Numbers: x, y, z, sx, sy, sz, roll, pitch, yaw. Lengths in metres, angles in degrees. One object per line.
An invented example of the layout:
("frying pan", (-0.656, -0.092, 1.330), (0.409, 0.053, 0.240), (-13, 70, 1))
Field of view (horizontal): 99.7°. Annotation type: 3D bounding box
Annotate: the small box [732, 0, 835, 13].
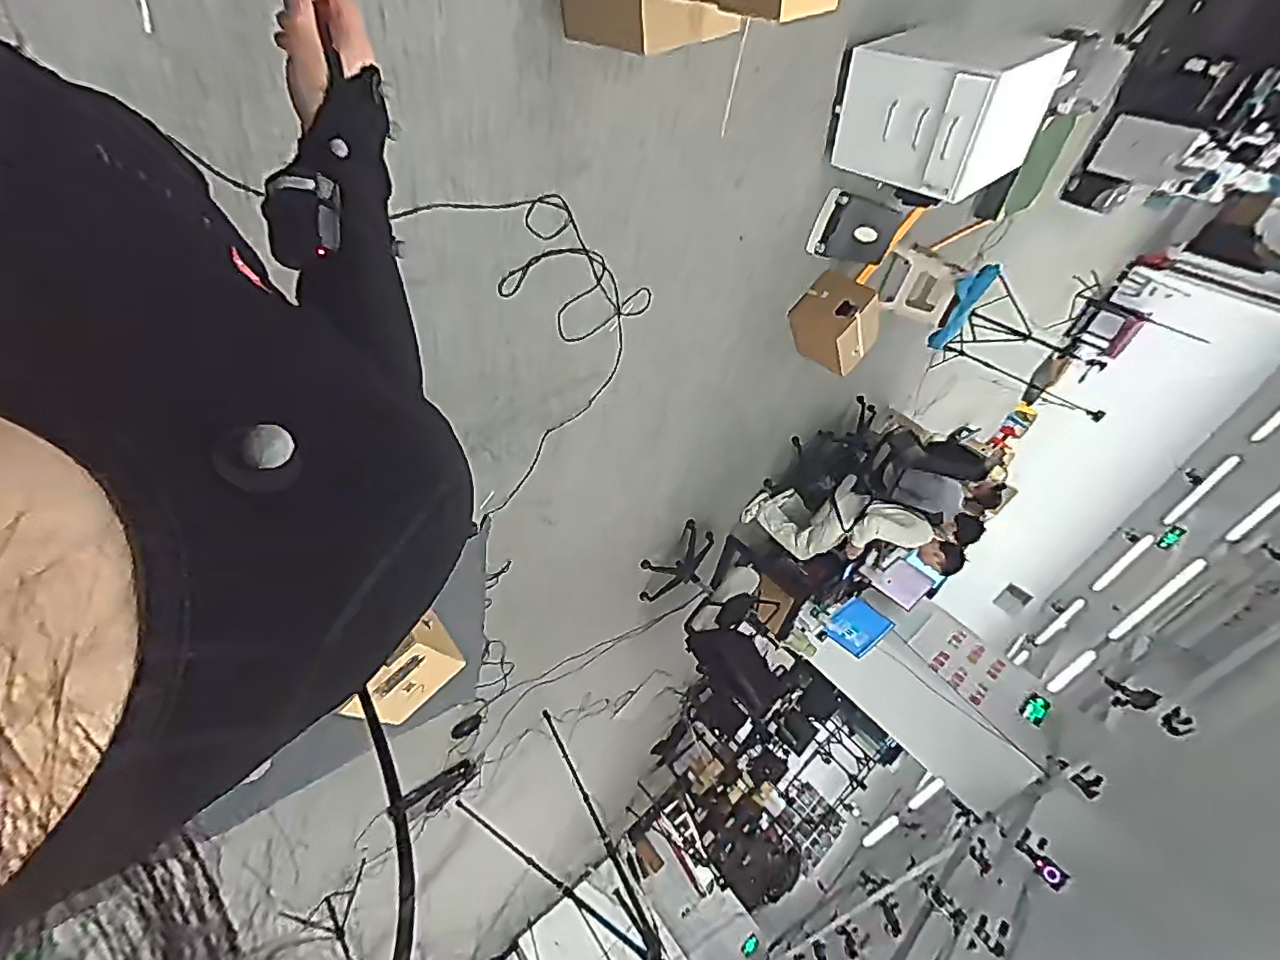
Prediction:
("small box", (0.268, -0.998, 0.999), (0.168, 0.176, 0.179), (-32, 144, -22))
